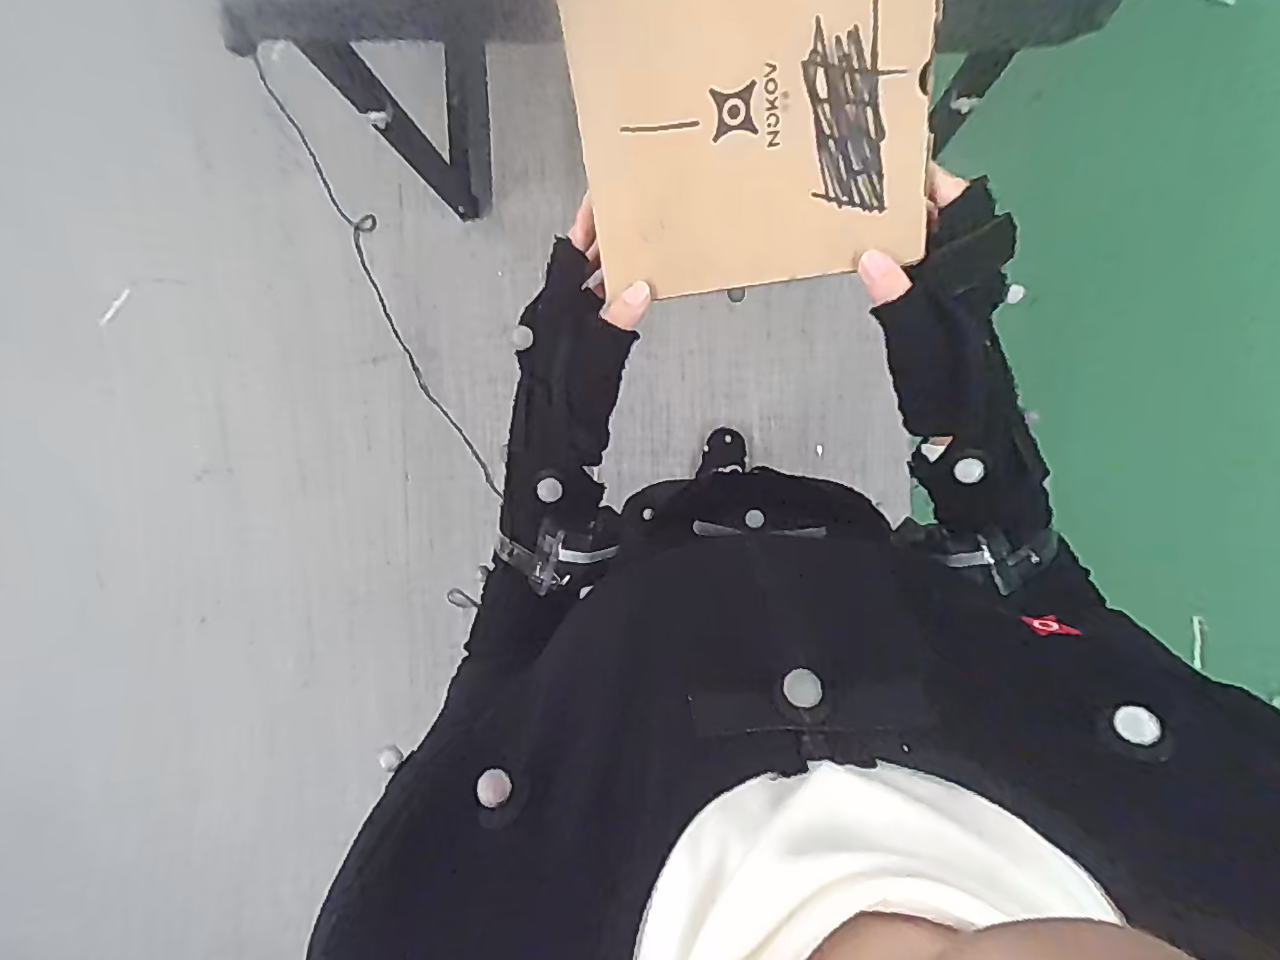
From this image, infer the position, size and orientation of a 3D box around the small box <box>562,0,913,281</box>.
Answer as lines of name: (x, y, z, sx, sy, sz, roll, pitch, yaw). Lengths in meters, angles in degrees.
small box: (0.058, -0.235, 0.360, 0.179, 0.176, 0.168, -4, 114, 8)
